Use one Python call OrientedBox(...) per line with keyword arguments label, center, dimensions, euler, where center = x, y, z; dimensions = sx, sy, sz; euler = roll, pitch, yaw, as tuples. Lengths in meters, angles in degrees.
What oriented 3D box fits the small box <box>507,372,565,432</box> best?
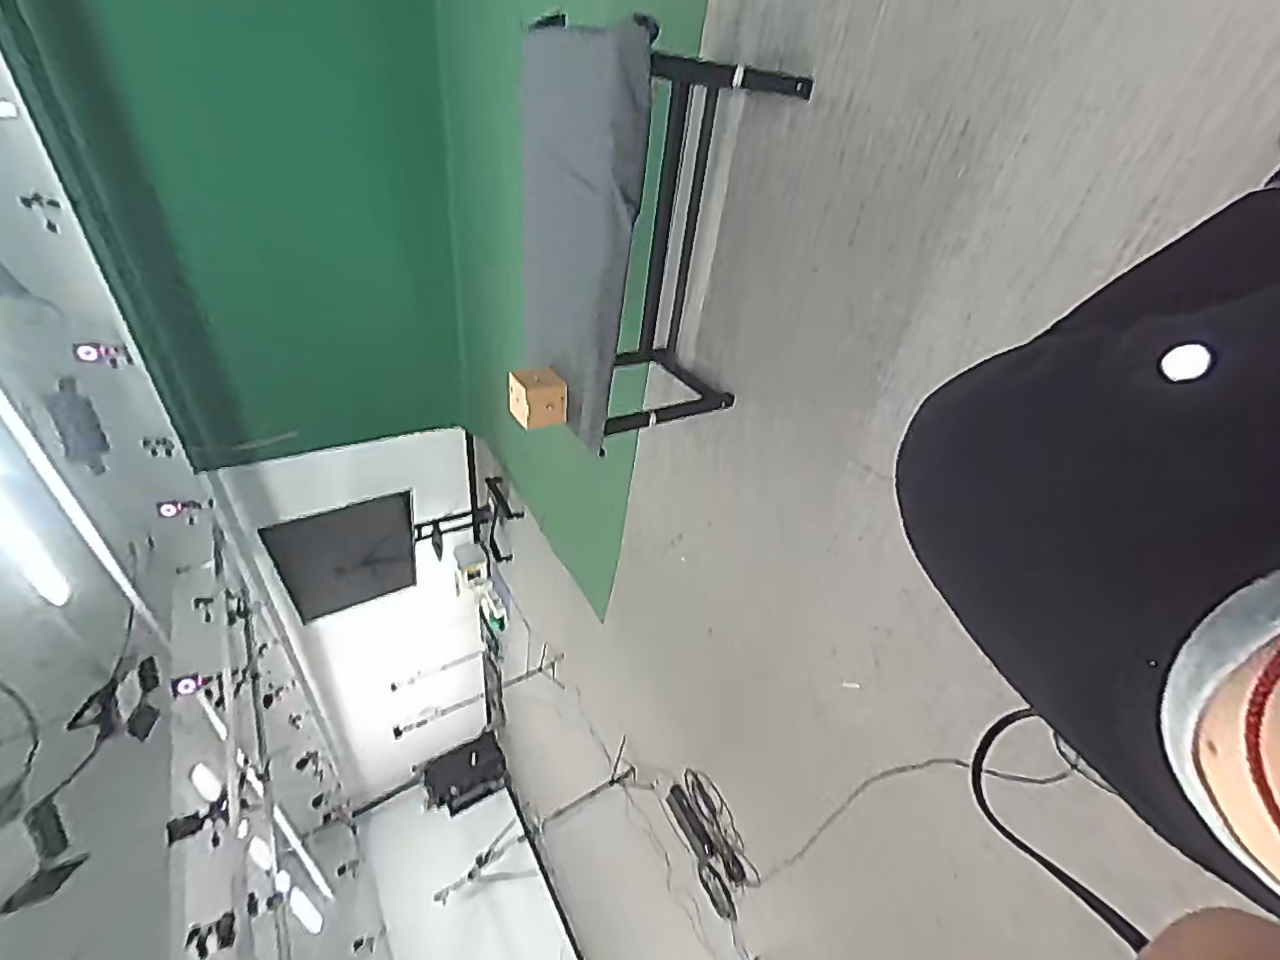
OrientedBox(label="small box", center=(-0.402, -0.309, 2.099), dimensions=(0.179, 0.176, 0.168), euler=(43, 137, 41))
